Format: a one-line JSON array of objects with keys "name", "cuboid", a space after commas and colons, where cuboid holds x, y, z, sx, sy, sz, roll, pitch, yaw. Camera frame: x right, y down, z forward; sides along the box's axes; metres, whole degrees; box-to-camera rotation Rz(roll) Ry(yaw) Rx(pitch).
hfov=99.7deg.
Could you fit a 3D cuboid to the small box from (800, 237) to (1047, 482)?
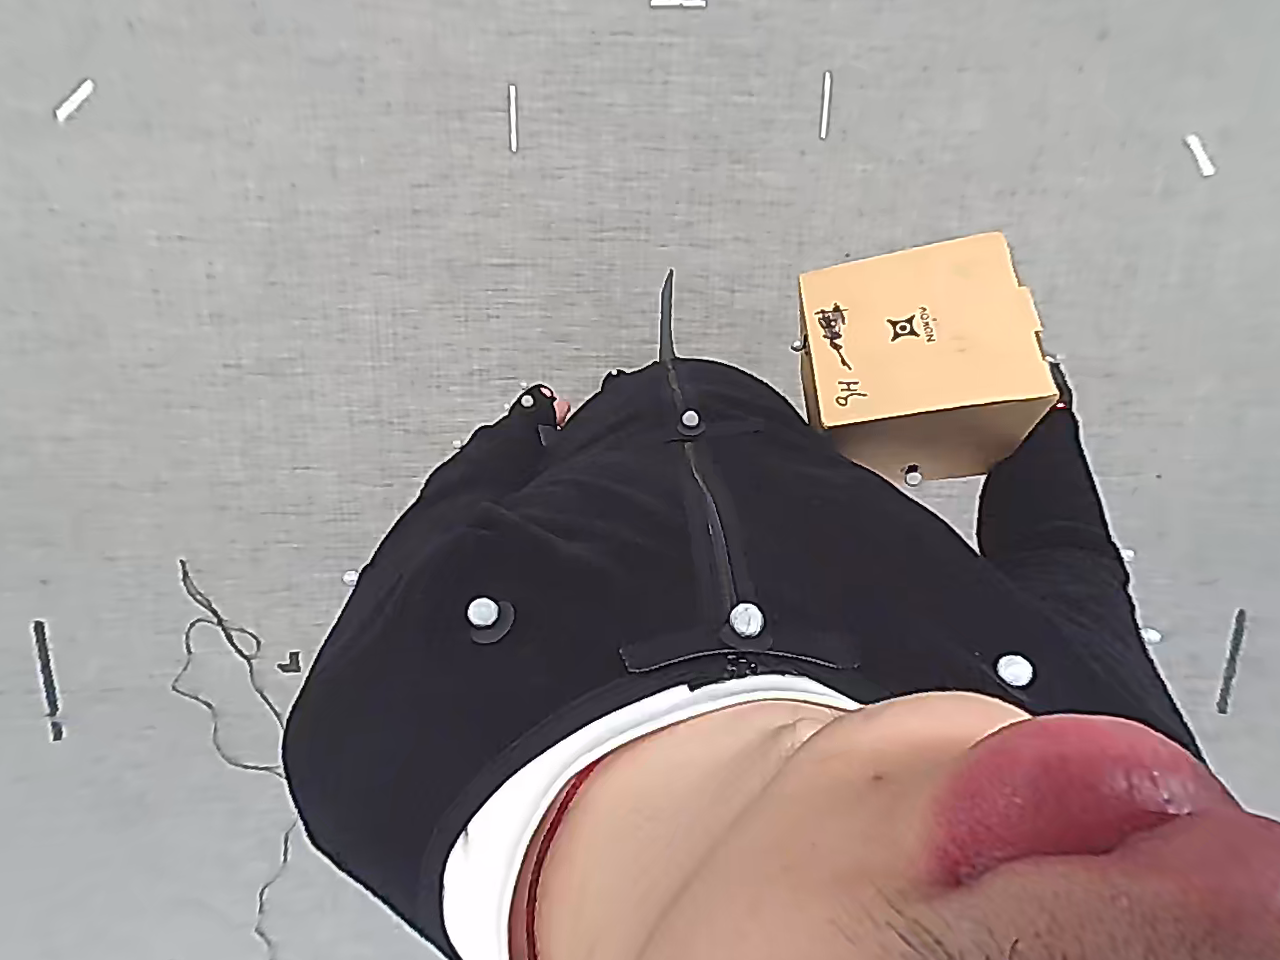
[{"name": "small box", "cuboid": [0.262, -0.107, 0.550, 0.179, 0.176, 0.168, -7, 67, 14]}]
